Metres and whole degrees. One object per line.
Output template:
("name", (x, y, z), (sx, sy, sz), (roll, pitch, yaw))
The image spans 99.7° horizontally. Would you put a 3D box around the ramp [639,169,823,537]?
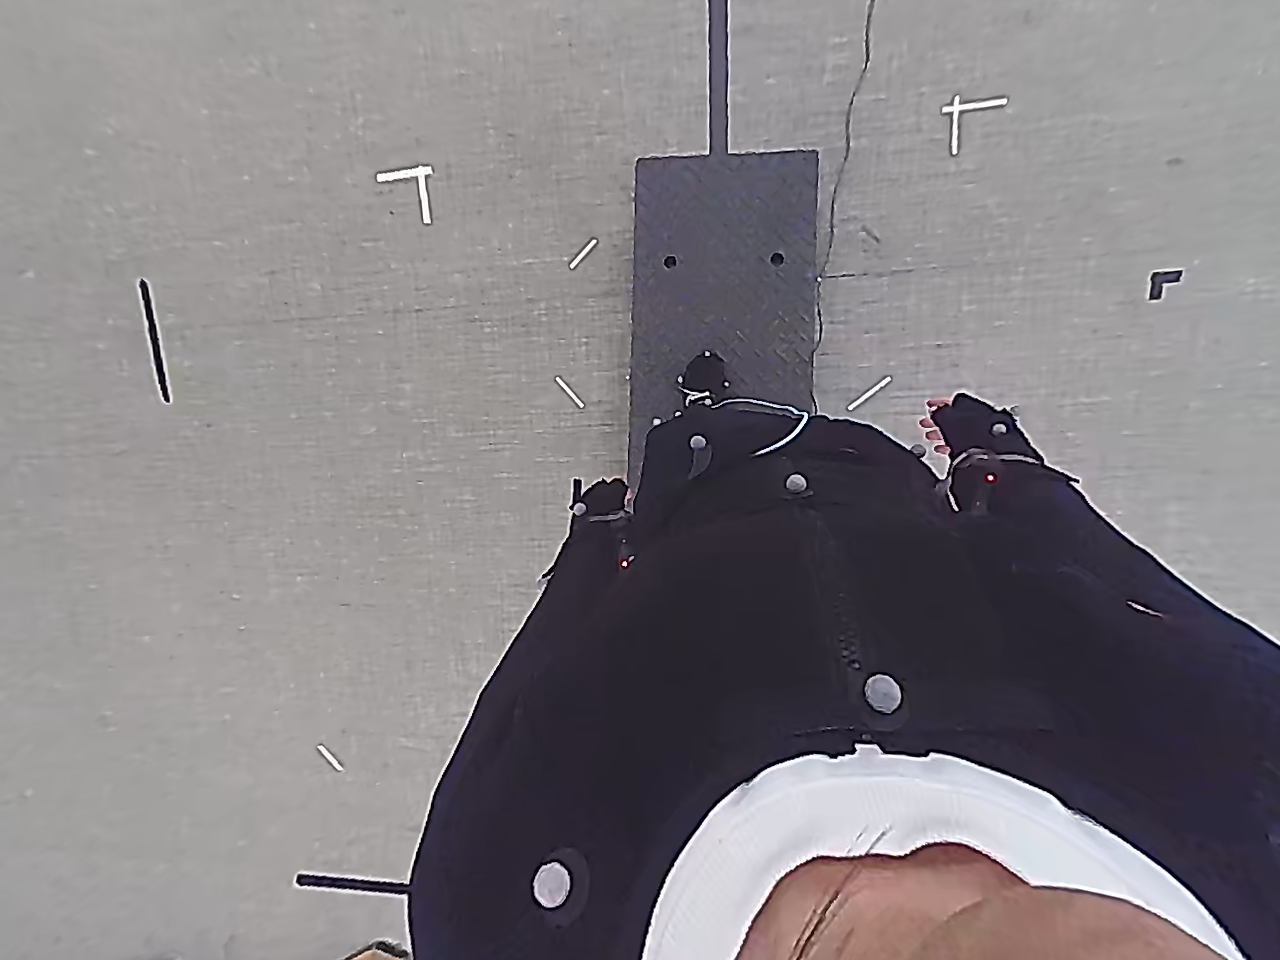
("ramp", (0.239, -0.345, 1.475), (0.509, 0.206, 0.991), (-2, 97, 9))
